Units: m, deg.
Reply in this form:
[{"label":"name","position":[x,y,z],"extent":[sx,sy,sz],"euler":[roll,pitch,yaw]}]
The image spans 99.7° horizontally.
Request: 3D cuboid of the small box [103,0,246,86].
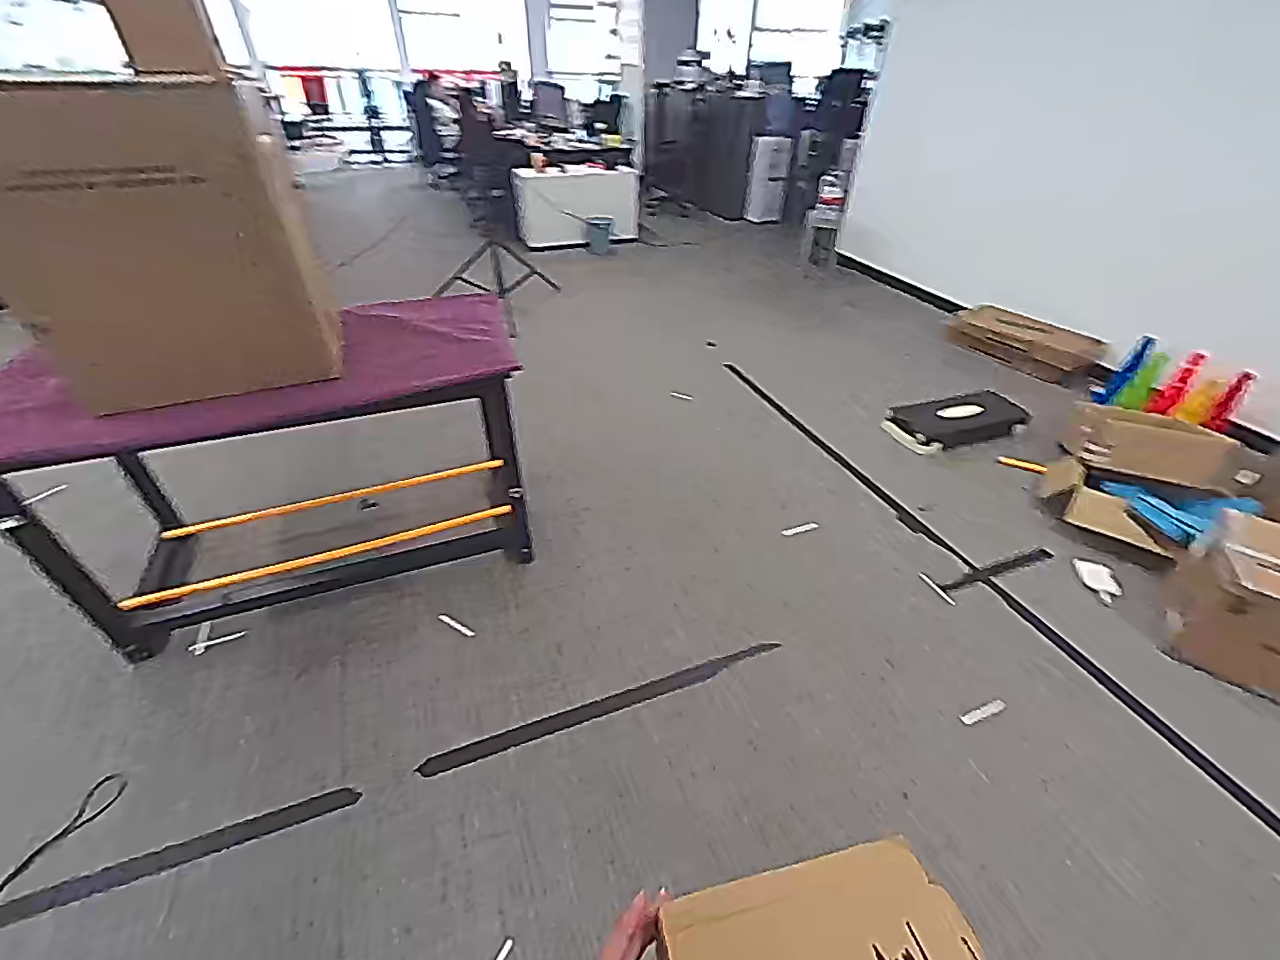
[{"label":"small box","position":[-0.973,-0.934,1.134],"extent":[0.179,0.176,0.168],"euler":[-14,40,-18]}]
